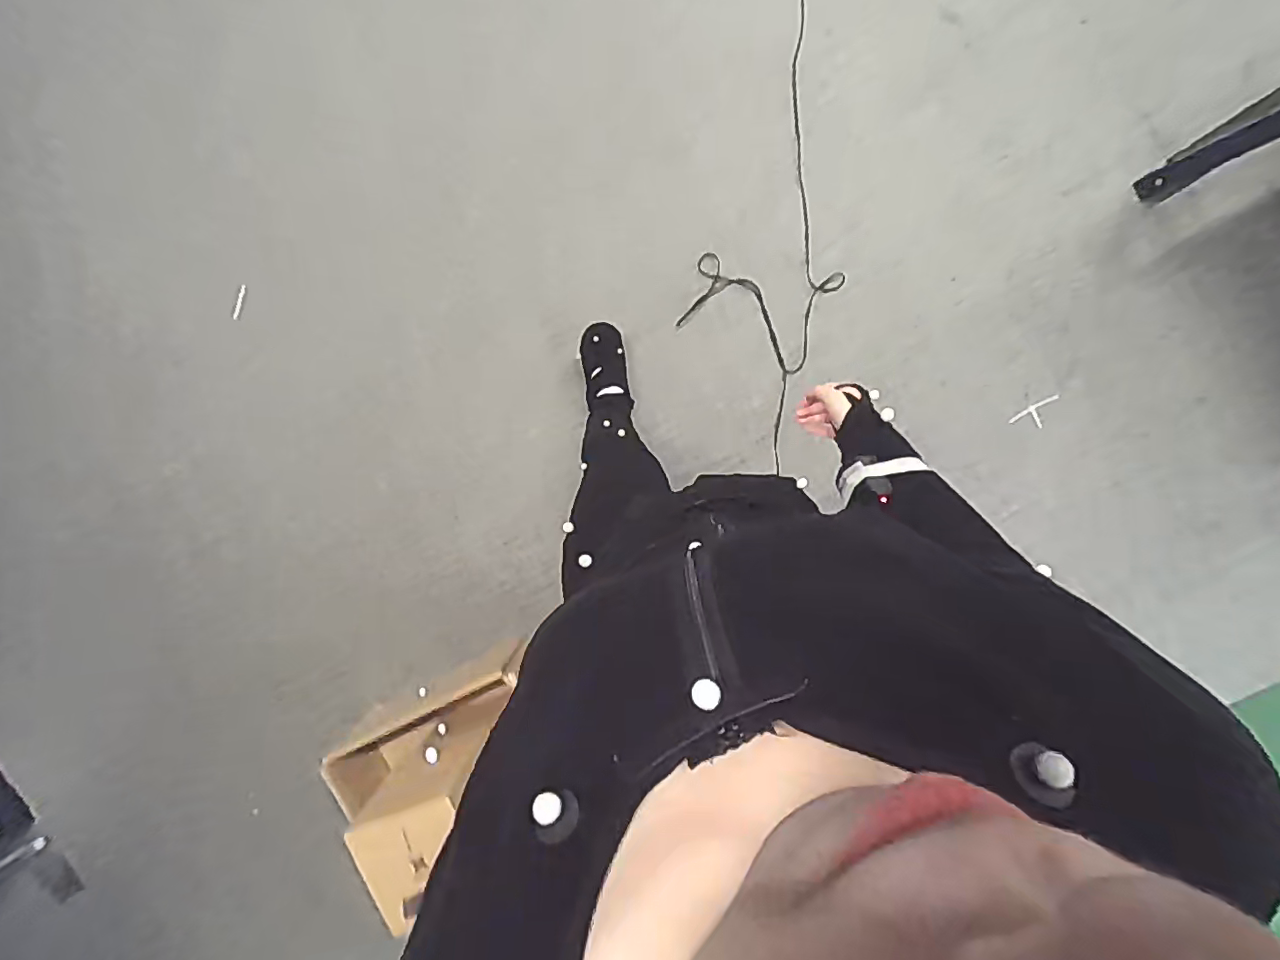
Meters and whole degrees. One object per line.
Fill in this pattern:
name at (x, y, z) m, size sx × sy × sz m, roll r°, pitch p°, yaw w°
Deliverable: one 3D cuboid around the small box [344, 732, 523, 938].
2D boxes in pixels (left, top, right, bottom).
small box at (-0.297, 0.526, 0.821) m, size 0.168 × 0.176 × 0.179 m, roll -21°, pitch 95°, yaw 5°
